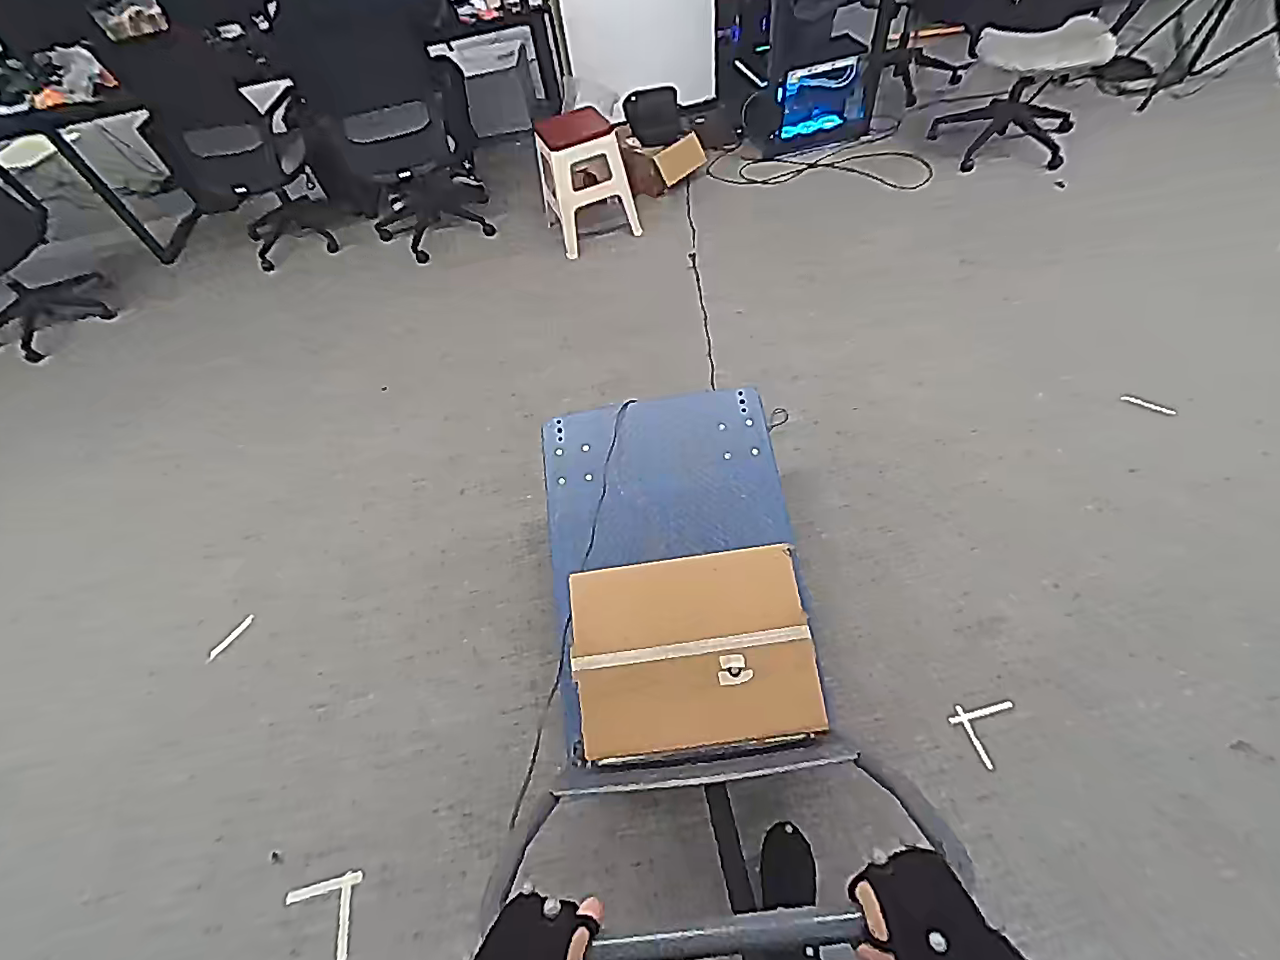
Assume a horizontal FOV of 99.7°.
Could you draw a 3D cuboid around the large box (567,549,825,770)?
[{"bbox_3d":[0.093,0.344,1.061,0.408,0.320,0.320,-9,72,1],"label":"large box"}]
